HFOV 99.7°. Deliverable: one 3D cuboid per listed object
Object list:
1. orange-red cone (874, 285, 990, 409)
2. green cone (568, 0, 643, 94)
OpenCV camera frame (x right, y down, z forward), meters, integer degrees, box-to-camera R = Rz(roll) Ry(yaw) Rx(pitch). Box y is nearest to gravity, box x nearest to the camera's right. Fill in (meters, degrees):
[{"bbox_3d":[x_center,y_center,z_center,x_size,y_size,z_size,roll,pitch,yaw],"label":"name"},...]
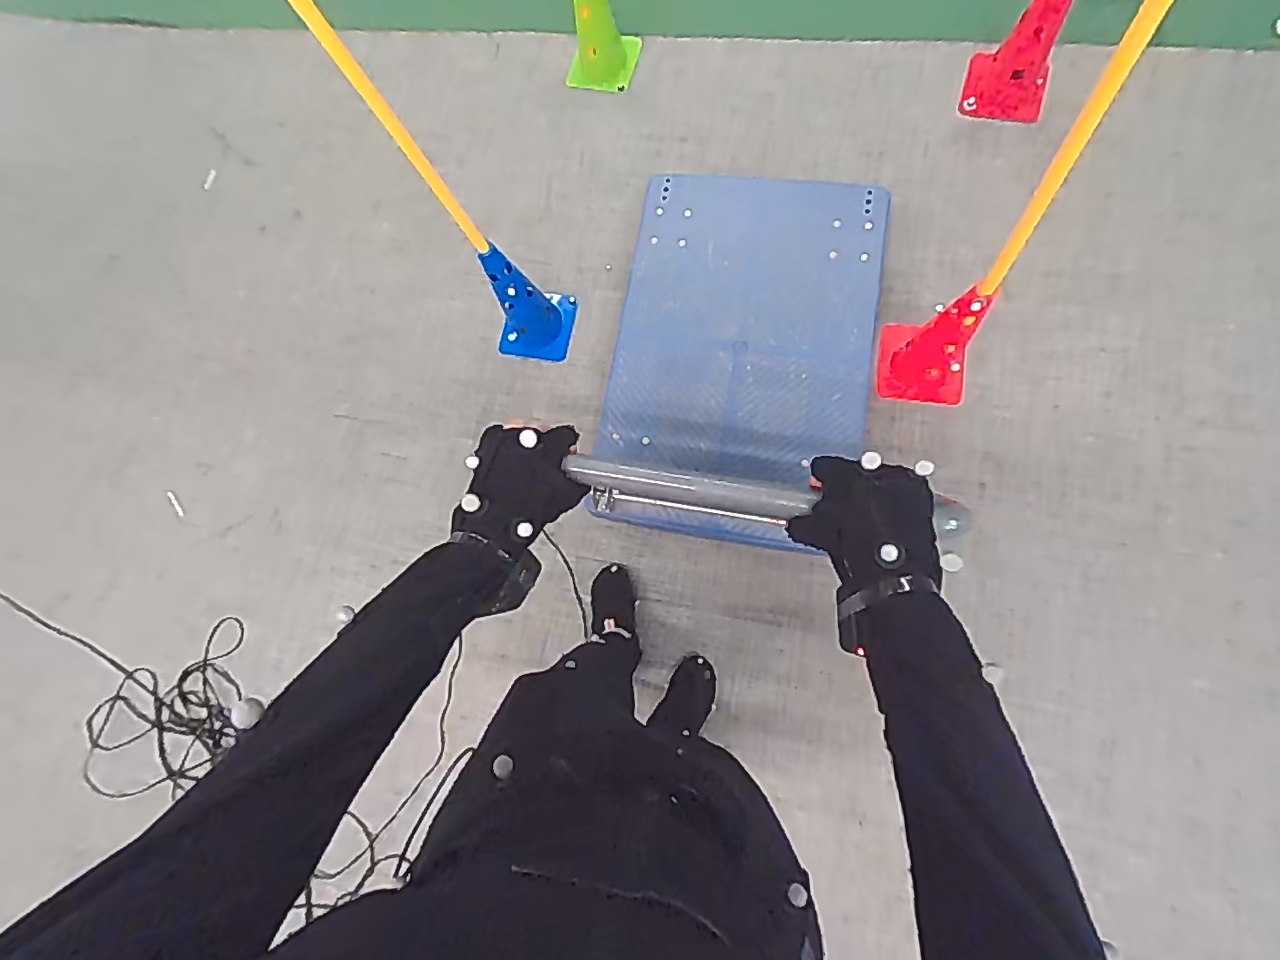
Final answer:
[{"bbox_3d":[0.667,-0.314,1.188,0.199,0.360,0.198,9,80,12],"label":"orange-red cone"},{"bbox_3d":[-0.133,-1.316,1.500,0.202,0.368,0.200,15,81,12],"label":"green cone"}]
